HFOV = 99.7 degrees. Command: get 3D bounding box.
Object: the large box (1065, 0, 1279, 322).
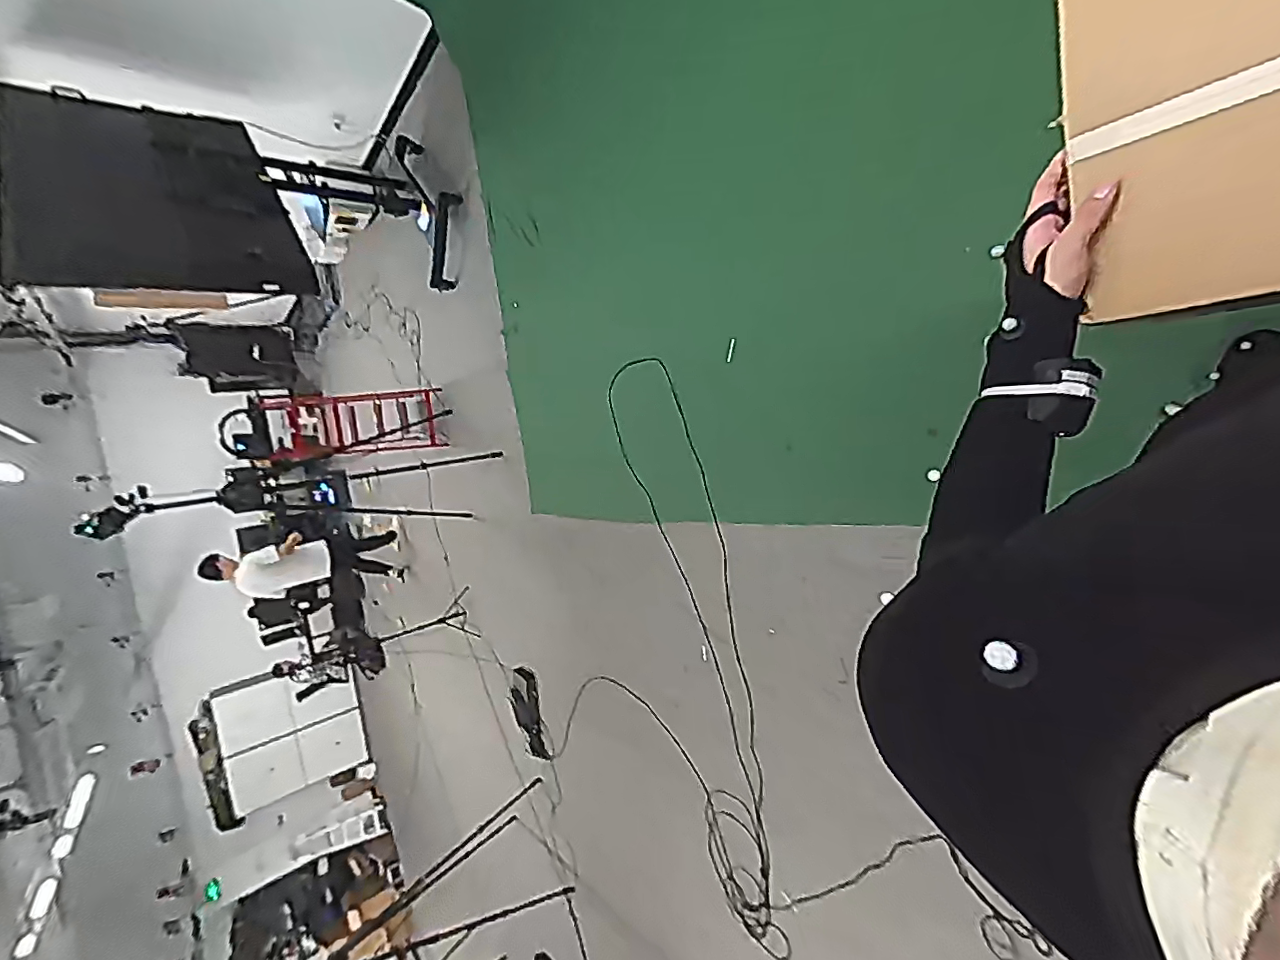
[{"bbox_3d":[0.638,-0.337,0.446,0.408,0.320,0.320,-2,99,48],"label":"large box"}]
